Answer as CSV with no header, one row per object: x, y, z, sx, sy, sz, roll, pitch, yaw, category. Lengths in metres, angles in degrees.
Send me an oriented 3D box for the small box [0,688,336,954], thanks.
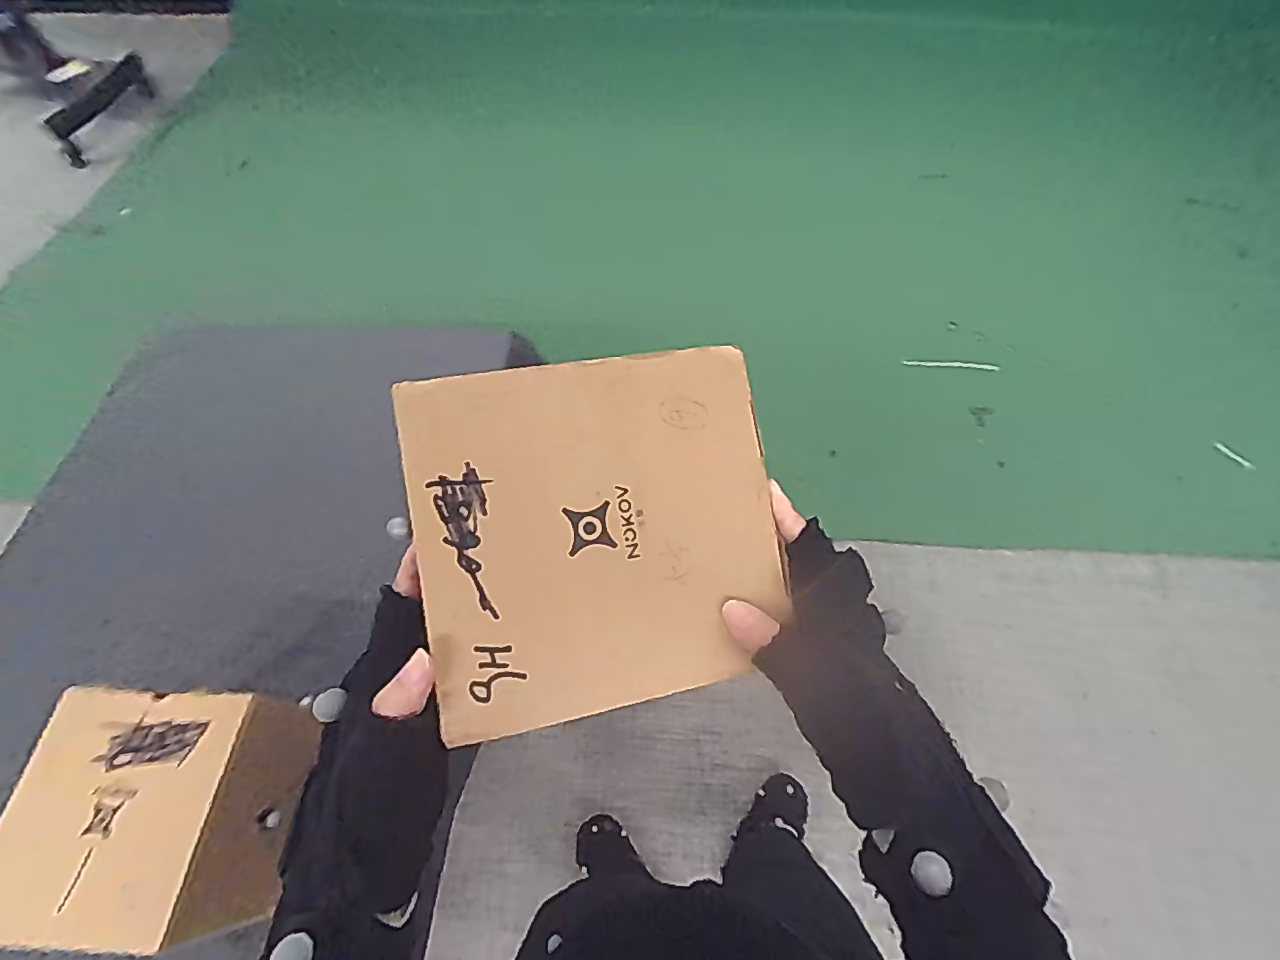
-0.417,0.300,0.500,0.168,0.176,0.179,1,61,2,small box

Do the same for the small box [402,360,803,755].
-0.030,0.037,0.341,0.179,0.176,0.168,-11,85,-12,small box
